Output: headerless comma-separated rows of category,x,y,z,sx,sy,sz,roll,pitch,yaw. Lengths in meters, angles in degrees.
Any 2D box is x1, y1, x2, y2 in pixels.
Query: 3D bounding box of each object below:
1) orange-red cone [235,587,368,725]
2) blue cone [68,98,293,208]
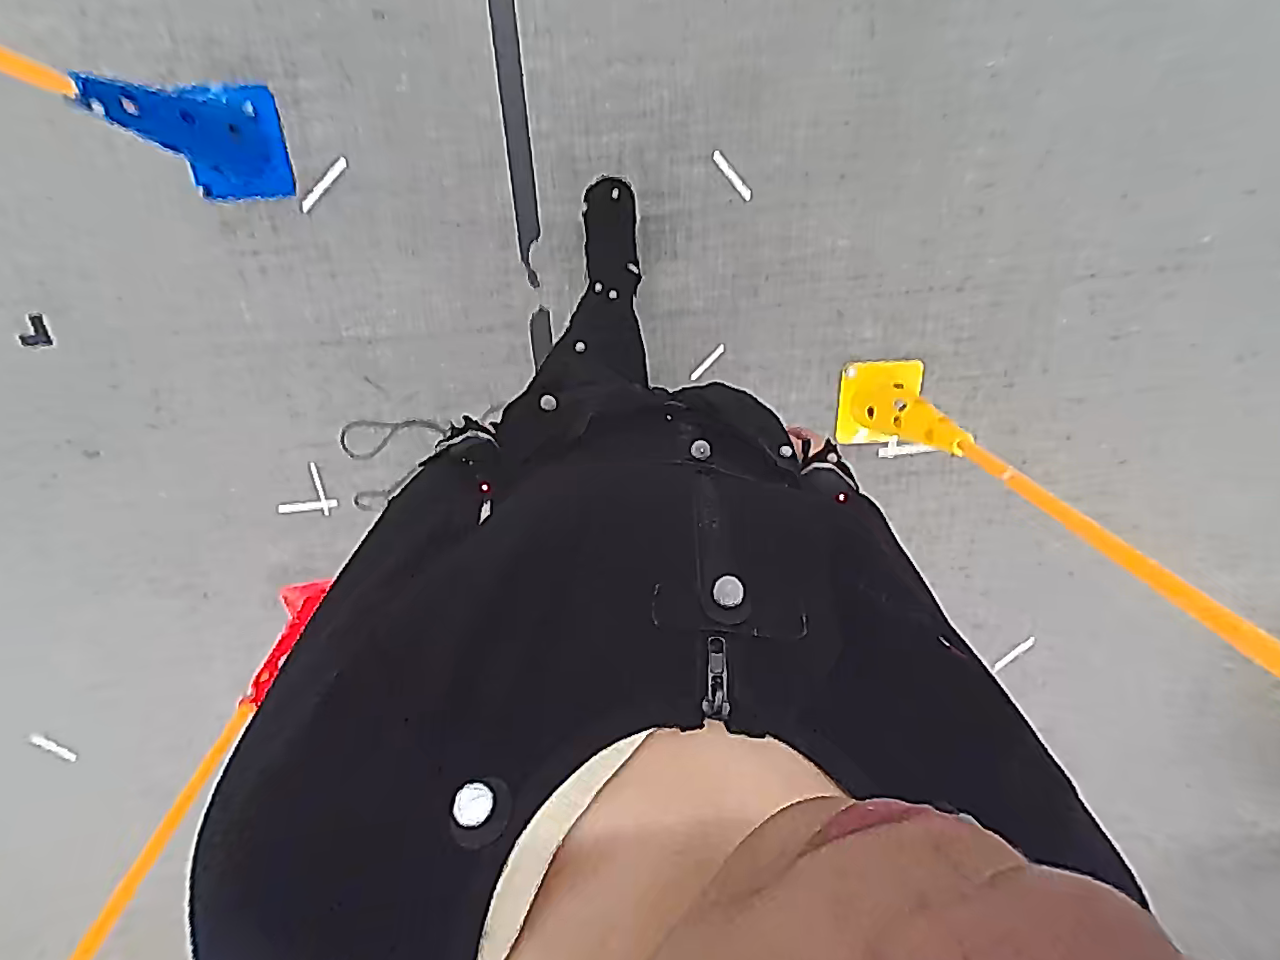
orange-red cone,-0.852,0.445,1.313,0.199,0.360,0.198,-10,111,0
blue cone,-0.812,-0.602,0.944,0.193,0.380,0.192,-2,111,-2
